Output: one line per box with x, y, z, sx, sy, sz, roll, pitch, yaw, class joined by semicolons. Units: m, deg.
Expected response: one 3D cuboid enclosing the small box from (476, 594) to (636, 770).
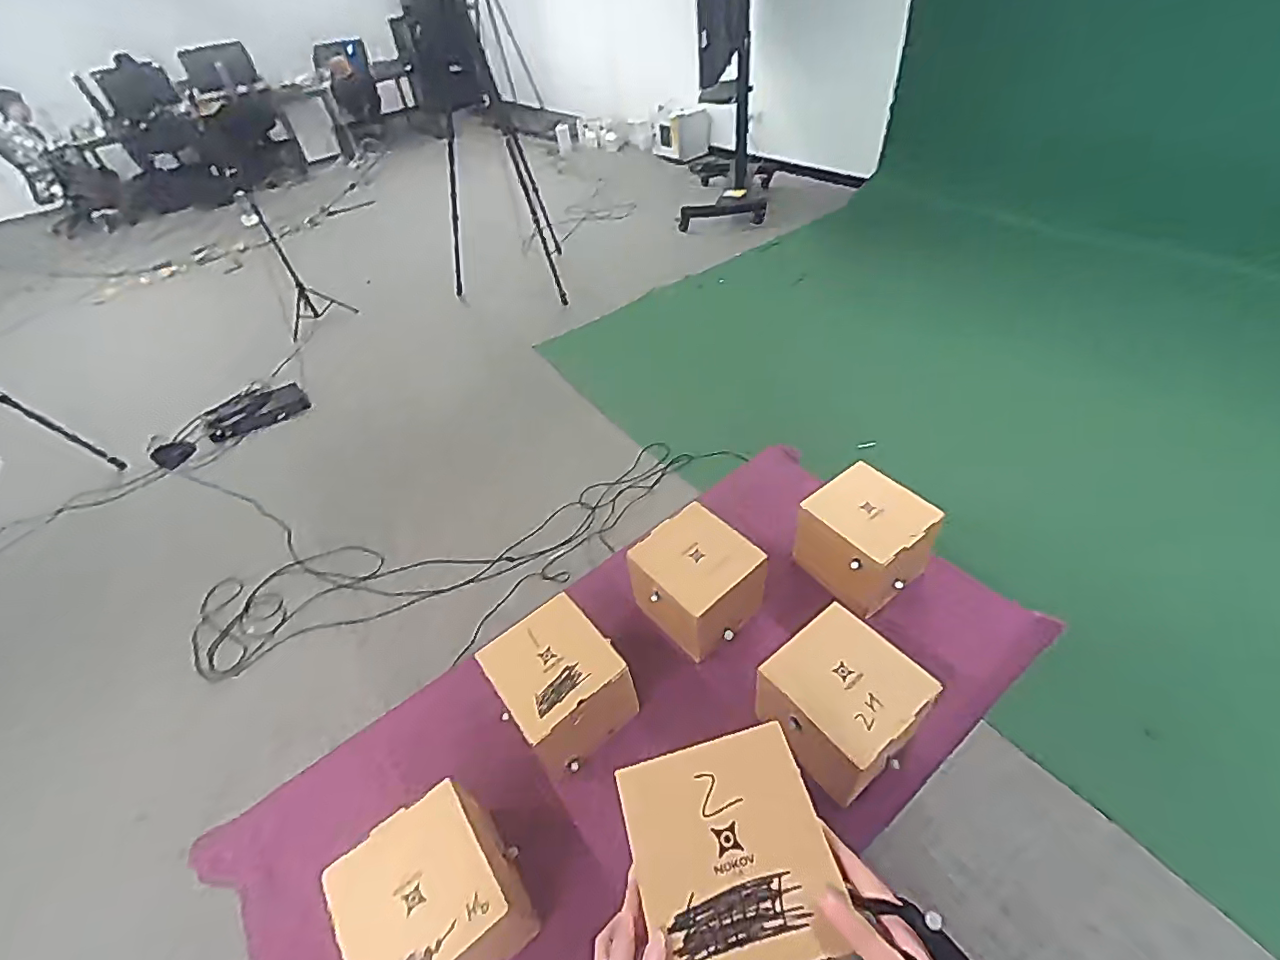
-0.123;0.322;0.850;0.168;0.176;0.179;-33;49;-23;small box

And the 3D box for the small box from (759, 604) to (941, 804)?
0.288;0.324;0.784;0.168;0.176;0.179;-32;48;-21;small box

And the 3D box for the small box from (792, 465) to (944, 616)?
0.400;0.111;0.984;0.168;0.176;0.179;-29;52;-21;small box

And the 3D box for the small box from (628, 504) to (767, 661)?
0.101;0.182;0.957;0.168;0.176;0.179;-34;51;-22;small box

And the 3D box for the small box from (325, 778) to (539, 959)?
-0.249;0.520;0.669;0.168;0.176;0.179;-32;49;-20;small box
